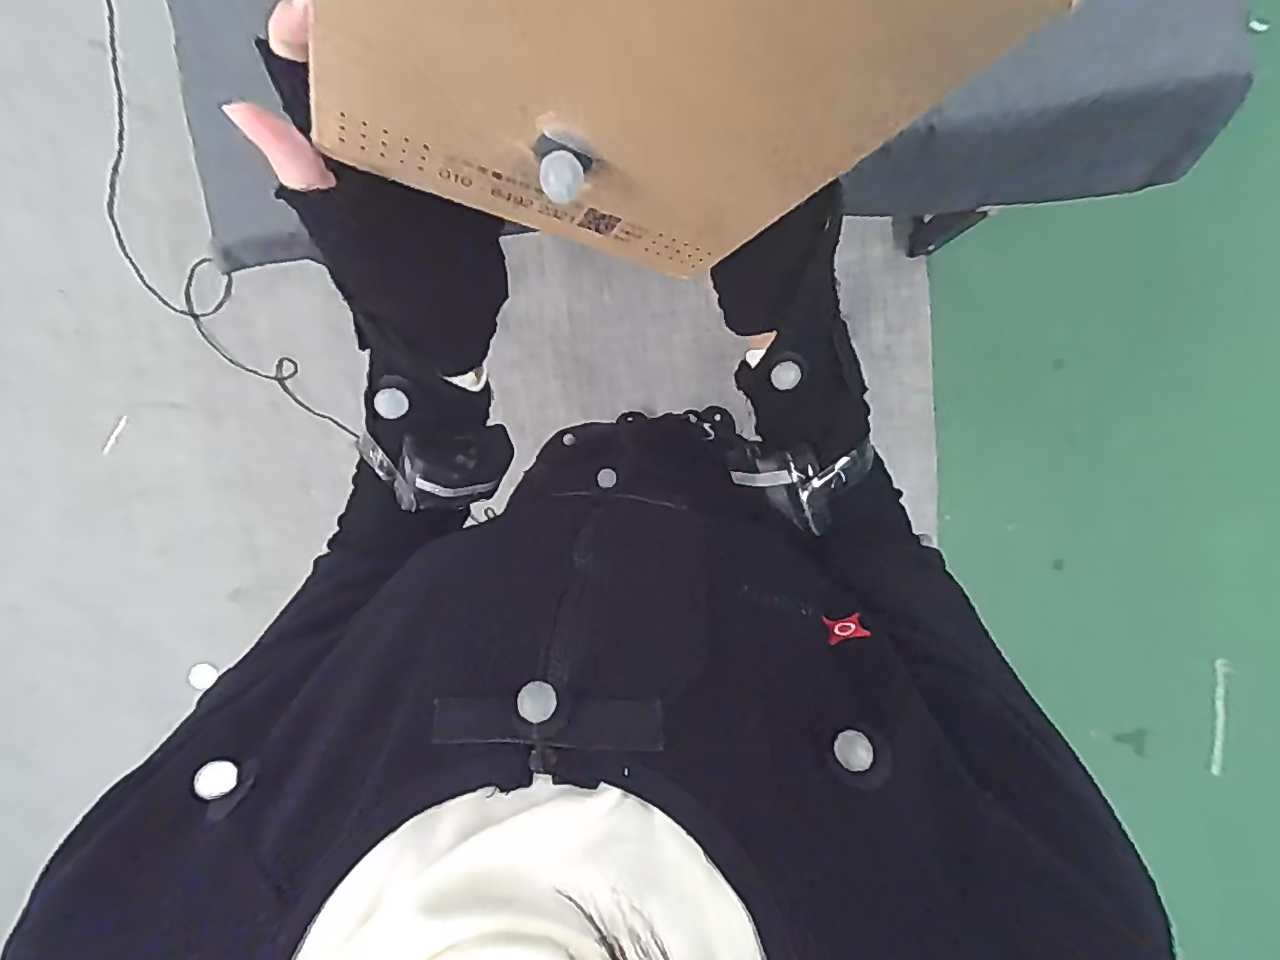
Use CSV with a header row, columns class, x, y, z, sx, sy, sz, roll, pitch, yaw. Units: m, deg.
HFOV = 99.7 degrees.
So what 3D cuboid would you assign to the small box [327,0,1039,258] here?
class,x,y,z,sx,sy,sz,roll,pitch,yaw
small box,-0.002,-0.209,0.176,0.168,0.176,0.179,7,82,-29
